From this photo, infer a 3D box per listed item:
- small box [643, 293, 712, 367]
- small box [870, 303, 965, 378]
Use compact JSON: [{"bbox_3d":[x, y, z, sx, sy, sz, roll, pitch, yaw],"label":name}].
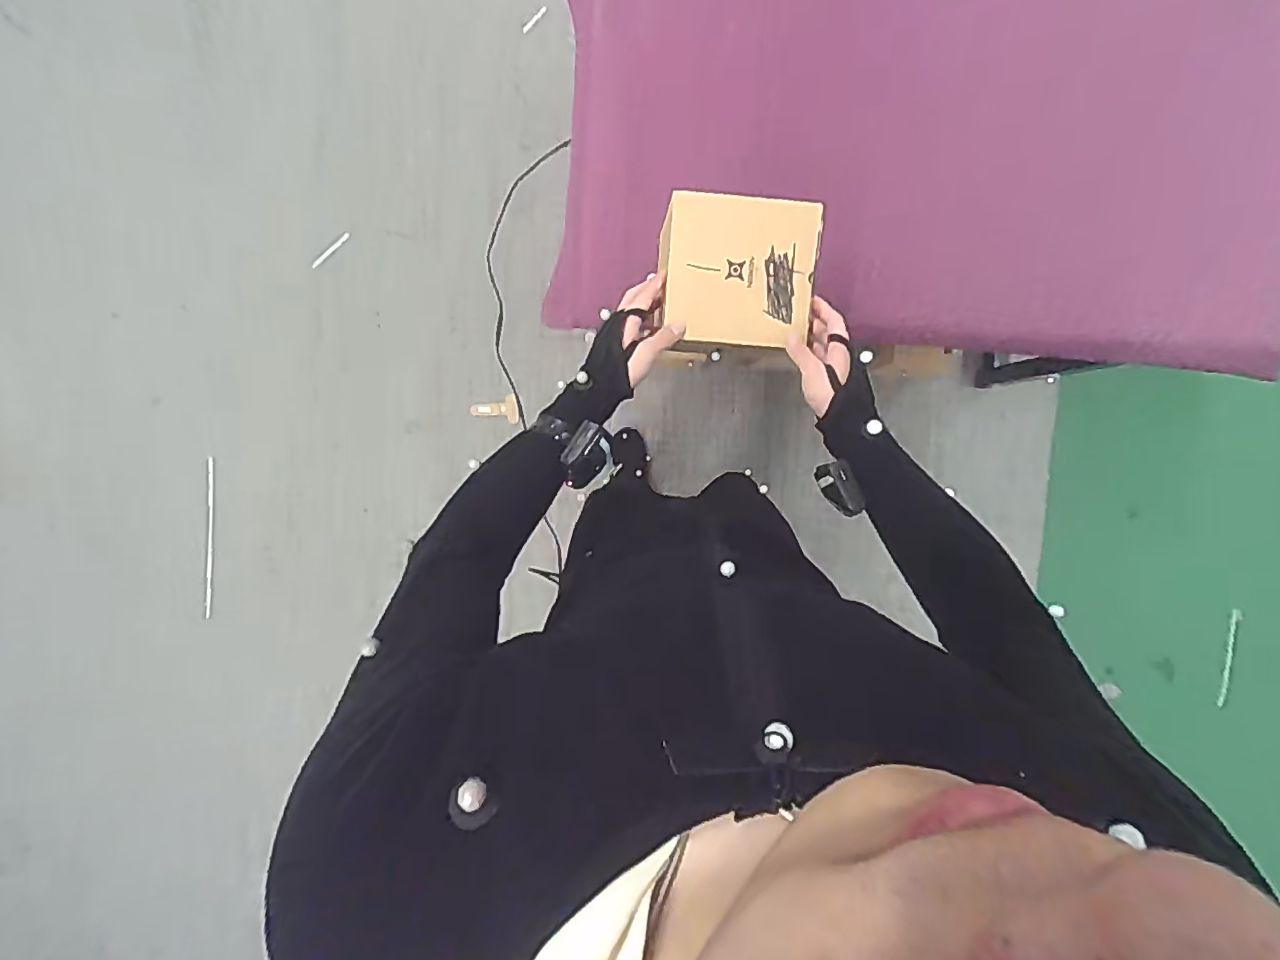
[{"bbox_3d":[0.100,-0.414,1.517,0.179,0.176,0.168,3,93,-2],"label":"small box"},{"bbox_3d":[0.776,-0.388,1.531,0.179,0.176,0.168,6,93,-1],"label":"small box"}]
